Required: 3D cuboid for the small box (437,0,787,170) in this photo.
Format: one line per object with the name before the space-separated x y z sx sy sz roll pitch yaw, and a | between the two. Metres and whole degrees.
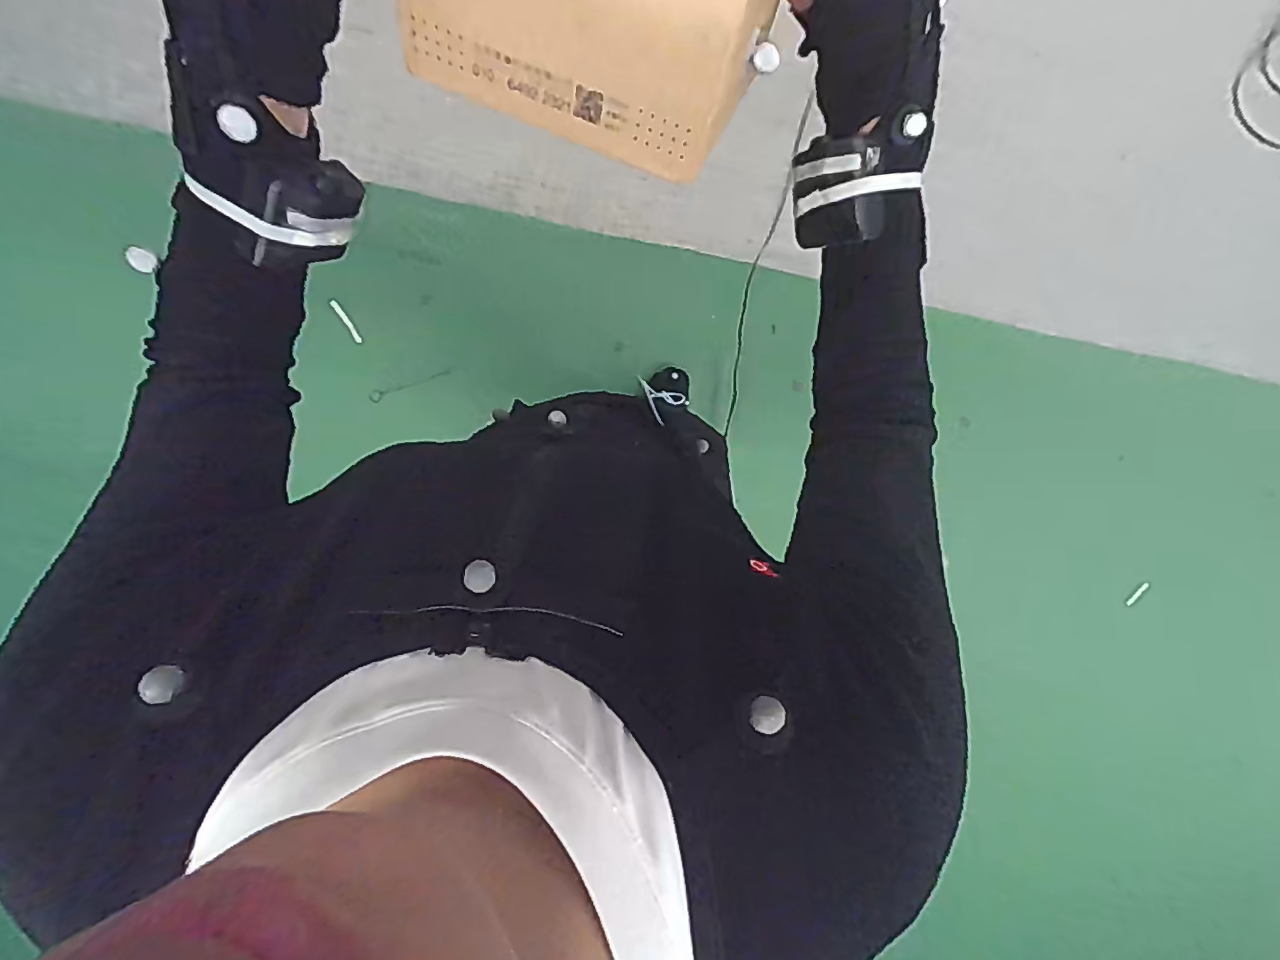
small box | 0.004 -0.301 0.274 0.168 0.176 0.179 23 55 0
